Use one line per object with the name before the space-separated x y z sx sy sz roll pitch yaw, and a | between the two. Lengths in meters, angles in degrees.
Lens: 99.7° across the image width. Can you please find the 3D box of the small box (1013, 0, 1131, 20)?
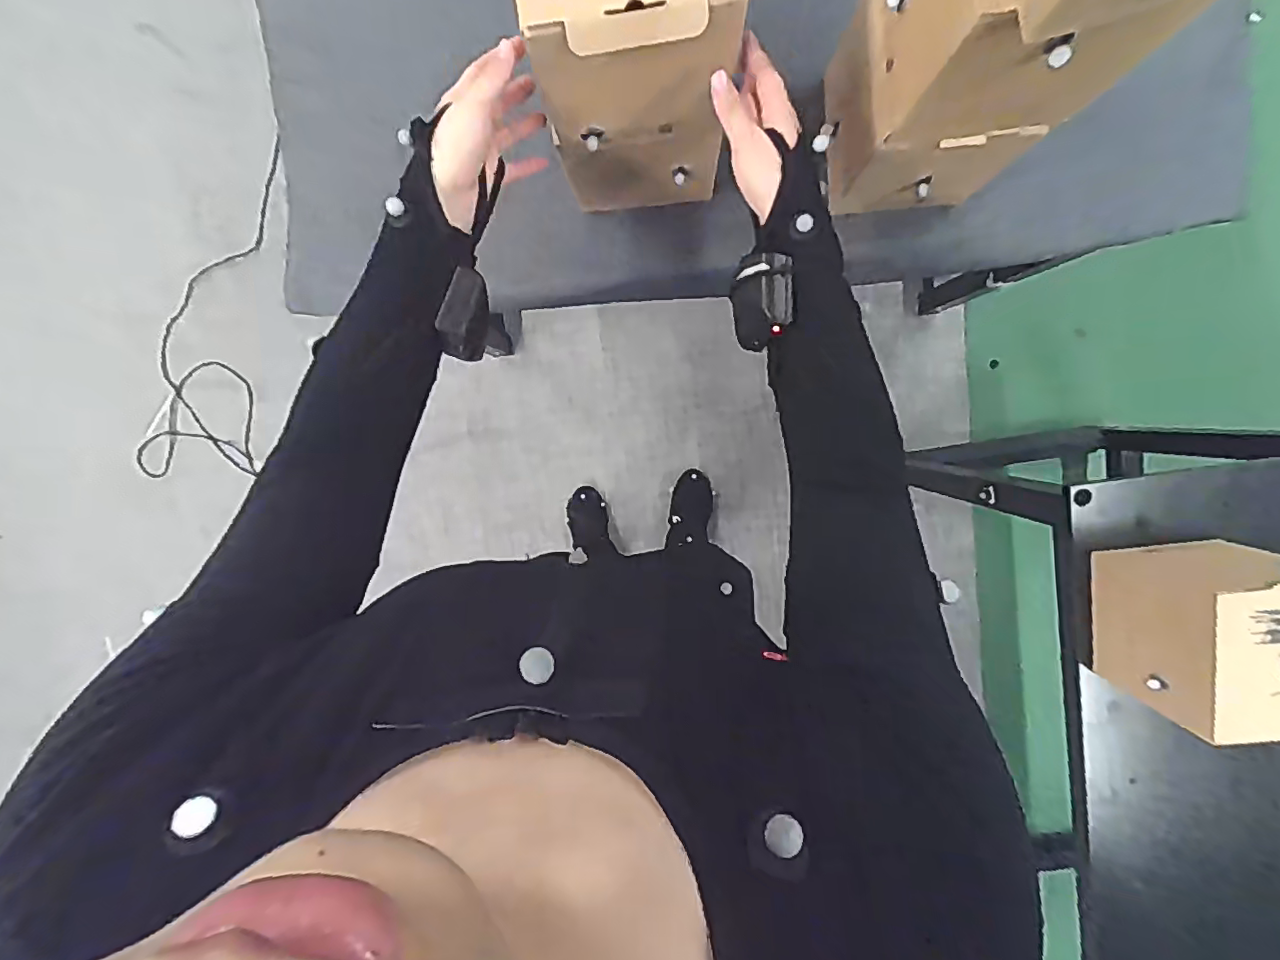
small box | 0.306 -0.385 0.270 0.168 0.176 0.179 -14 94 5

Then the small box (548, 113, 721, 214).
small box | -0.006 -0.426 0.617 0.179 0.176 0.168 -4 94 5

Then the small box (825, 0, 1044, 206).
small box | 0.309 -0.422 0.597 0.168 0.176 0.179 -4 96 4

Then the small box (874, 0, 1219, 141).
small box | 0.308 -0.407 0.434 0.179 0.176 0.168 -6 95 5

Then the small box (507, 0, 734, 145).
small box | -0.016 -0.413 0.453 0.168 0.176 0.179 -8 93 4
